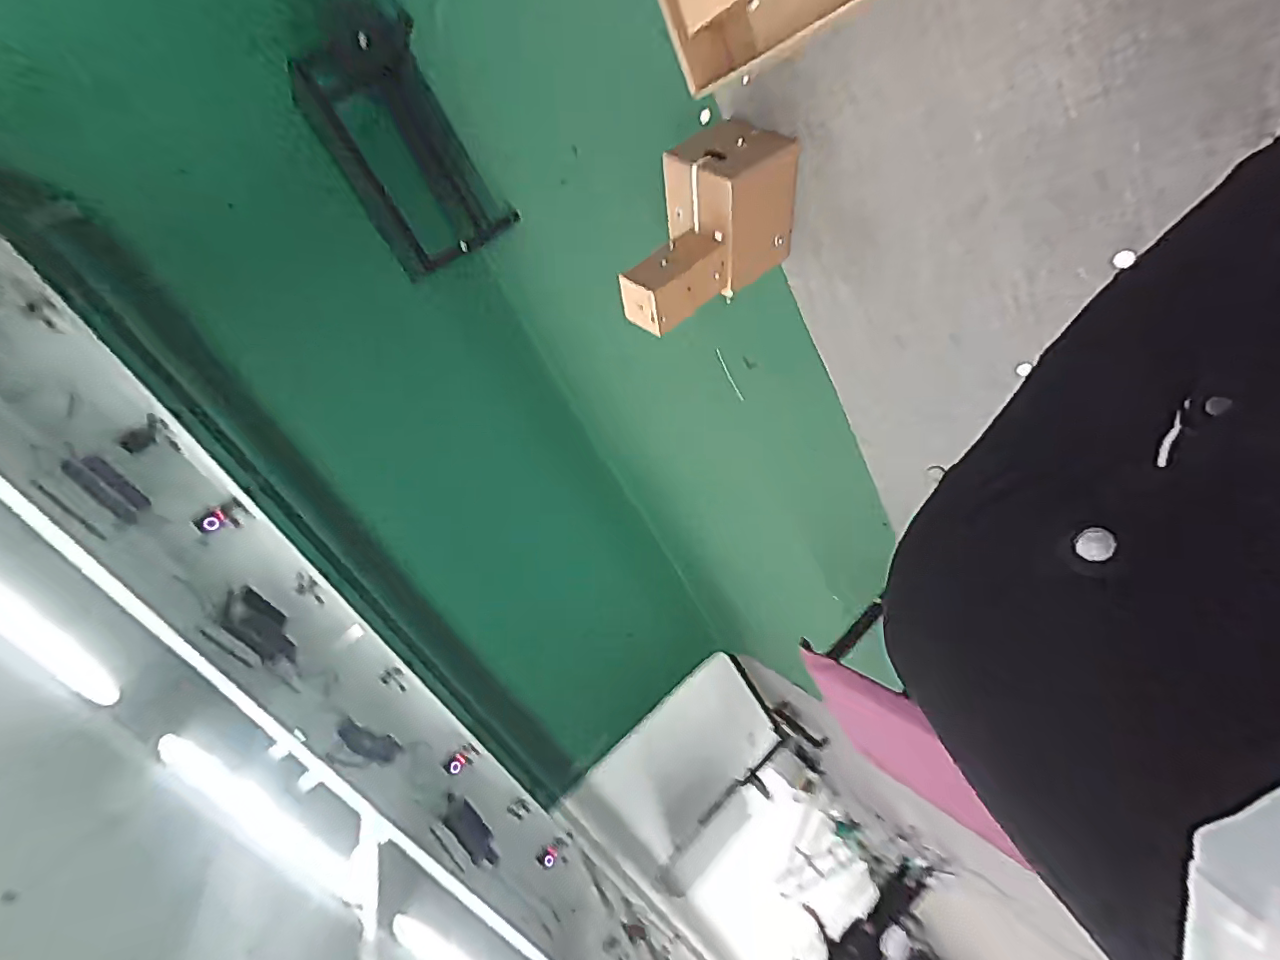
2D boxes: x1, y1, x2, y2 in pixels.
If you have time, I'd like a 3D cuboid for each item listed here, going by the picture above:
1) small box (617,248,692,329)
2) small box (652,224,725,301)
[{"bbox_3d":[0.053,-0.637,1.780,0.179,0.176,0.168,40,159,31],"label":"small box"},{"bbox_3d":[0.167,-0.741,1.836,0.179,0.176,0.168,39,159,30],"label":"small box"}]
